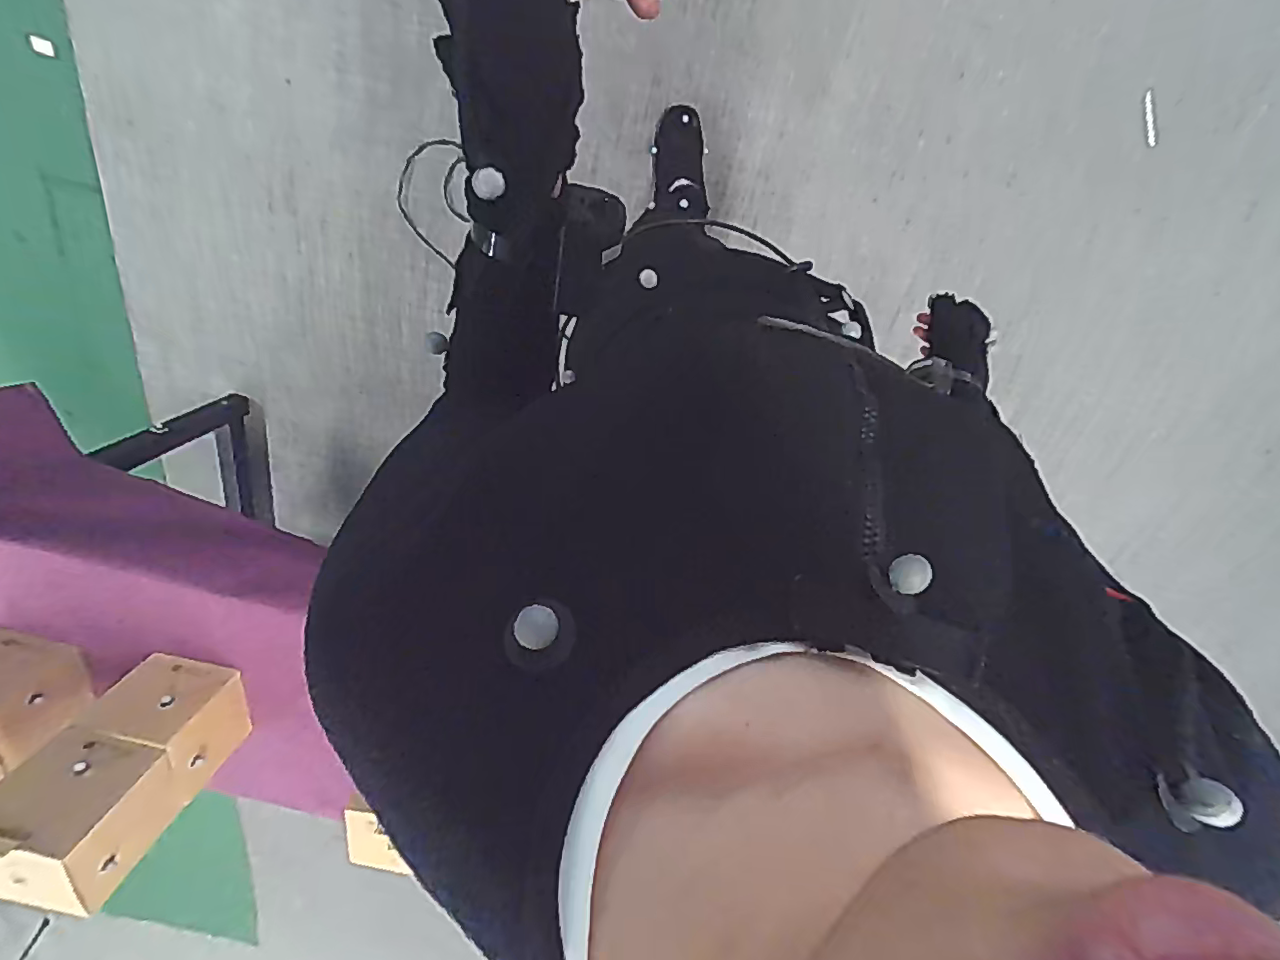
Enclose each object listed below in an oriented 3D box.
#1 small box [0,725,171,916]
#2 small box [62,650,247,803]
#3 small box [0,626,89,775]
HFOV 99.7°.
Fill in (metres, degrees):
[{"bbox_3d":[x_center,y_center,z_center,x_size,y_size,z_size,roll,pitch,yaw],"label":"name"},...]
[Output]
[{"bbox_3d":[-0.874,0.517,0.832,0.168,0.176,0.179,15,118,-3],"label":"small box"},{"bbox_3d":[-0.856,0.437,0.975,0.168,0.176,0.179,13,118,-1],"label":"small box"},{"bbox_3d":[-1.173,0.393,0.981,0.168,0.176,0.179,16,118,-2],"label":"small box"}]
